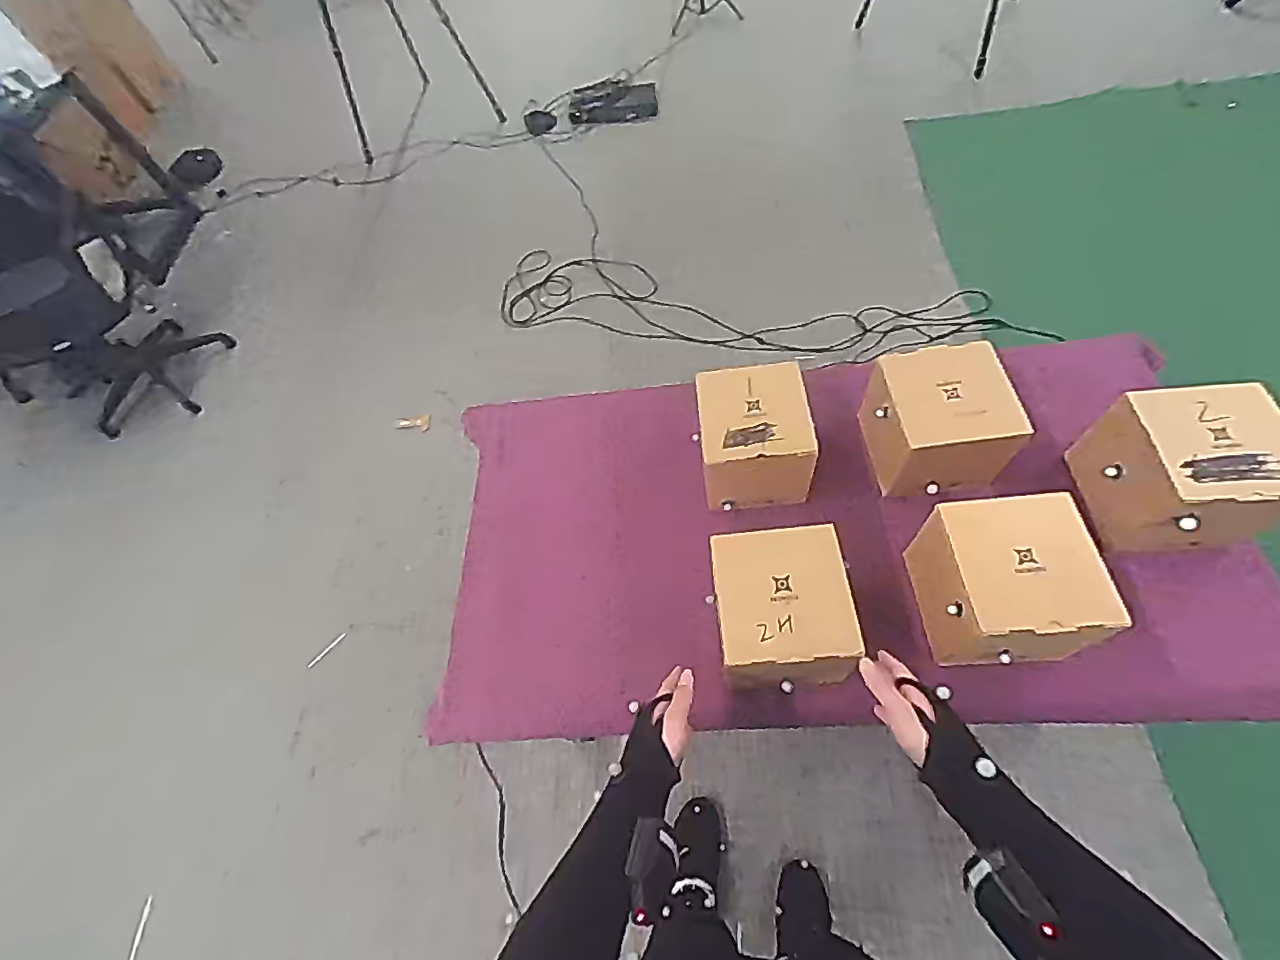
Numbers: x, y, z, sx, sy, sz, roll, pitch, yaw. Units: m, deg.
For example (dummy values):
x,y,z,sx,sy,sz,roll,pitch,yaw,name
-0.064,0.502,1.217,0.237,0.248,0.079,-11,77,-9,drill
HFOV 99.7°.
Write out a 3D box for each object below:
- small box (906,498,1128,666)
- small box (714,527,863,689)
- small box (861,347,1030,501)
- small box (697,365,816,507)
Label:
x,y,z,sx,sy,sz,roll,pitch,yaw,name
0.485,0.144,0.734,0.168,0.176,0.179,-5,60,6,small box
0.192,0.183,0.756,0.168,0.176,0.179,-6,59,6,small box
0.470,-0.084,0.866,0.168,0.176,0.179,-6,61,7,small box
0.187,-0.063,0.898,0.168,0.176,0.179,-5,60,6,small box
